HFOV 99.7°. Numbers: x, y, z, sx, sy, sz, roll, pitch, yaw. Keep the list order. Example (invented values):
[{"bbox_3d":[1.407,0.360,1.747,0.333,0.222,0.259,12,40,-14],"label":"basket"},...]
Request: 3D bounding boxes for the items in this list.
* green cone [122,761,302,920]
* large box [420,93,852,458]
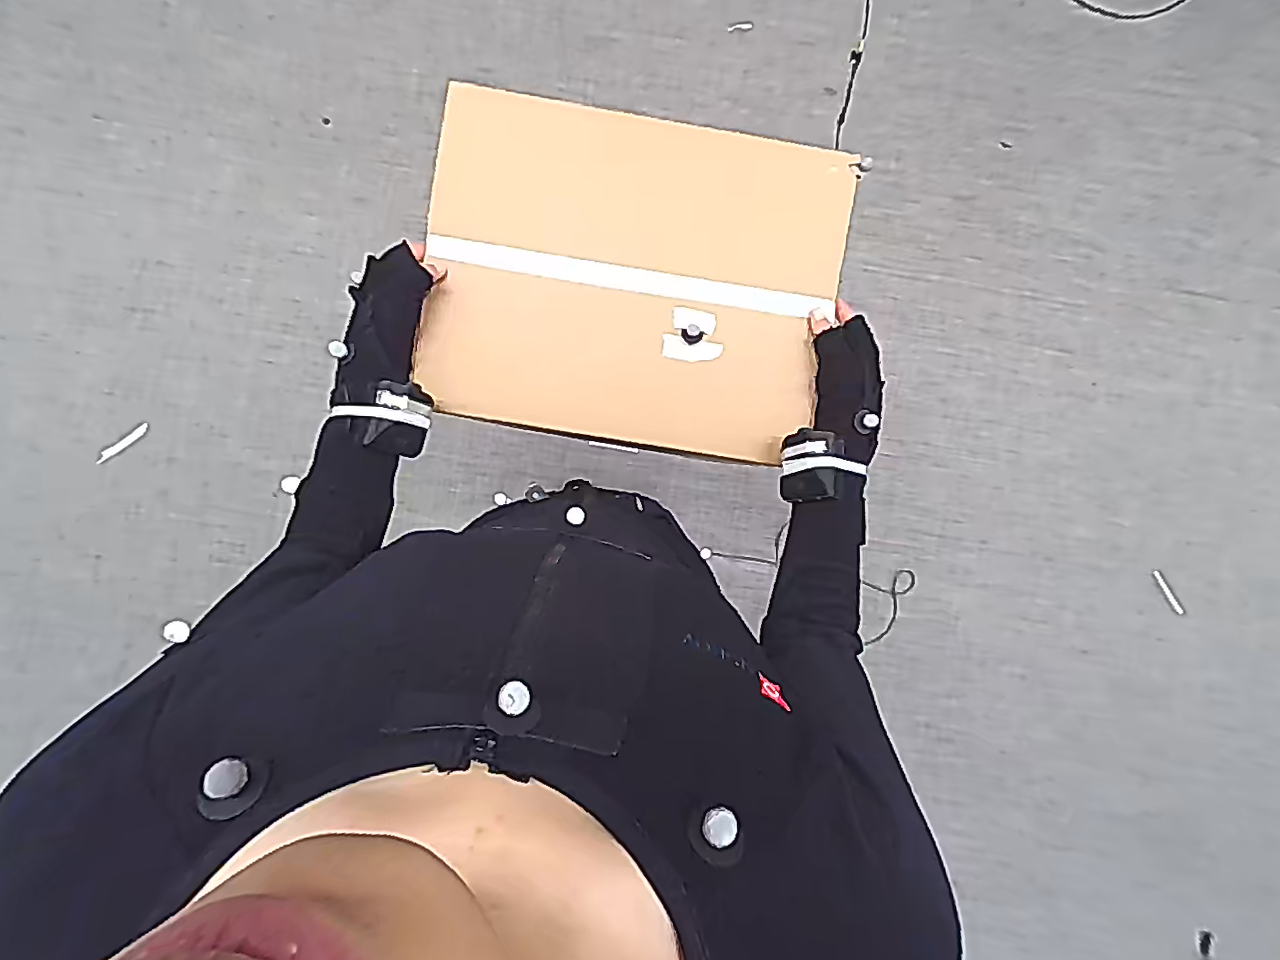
[{"bbox_3d":[-1.035,0.878,1.284,0.202,0.368,0.200,-29,89,0],"label":"green cone"},{"bbox_3d":[-0.010,-0.206,0.686,0.408,0.320,0.320,9,93,-2],"label":"large box"}]
